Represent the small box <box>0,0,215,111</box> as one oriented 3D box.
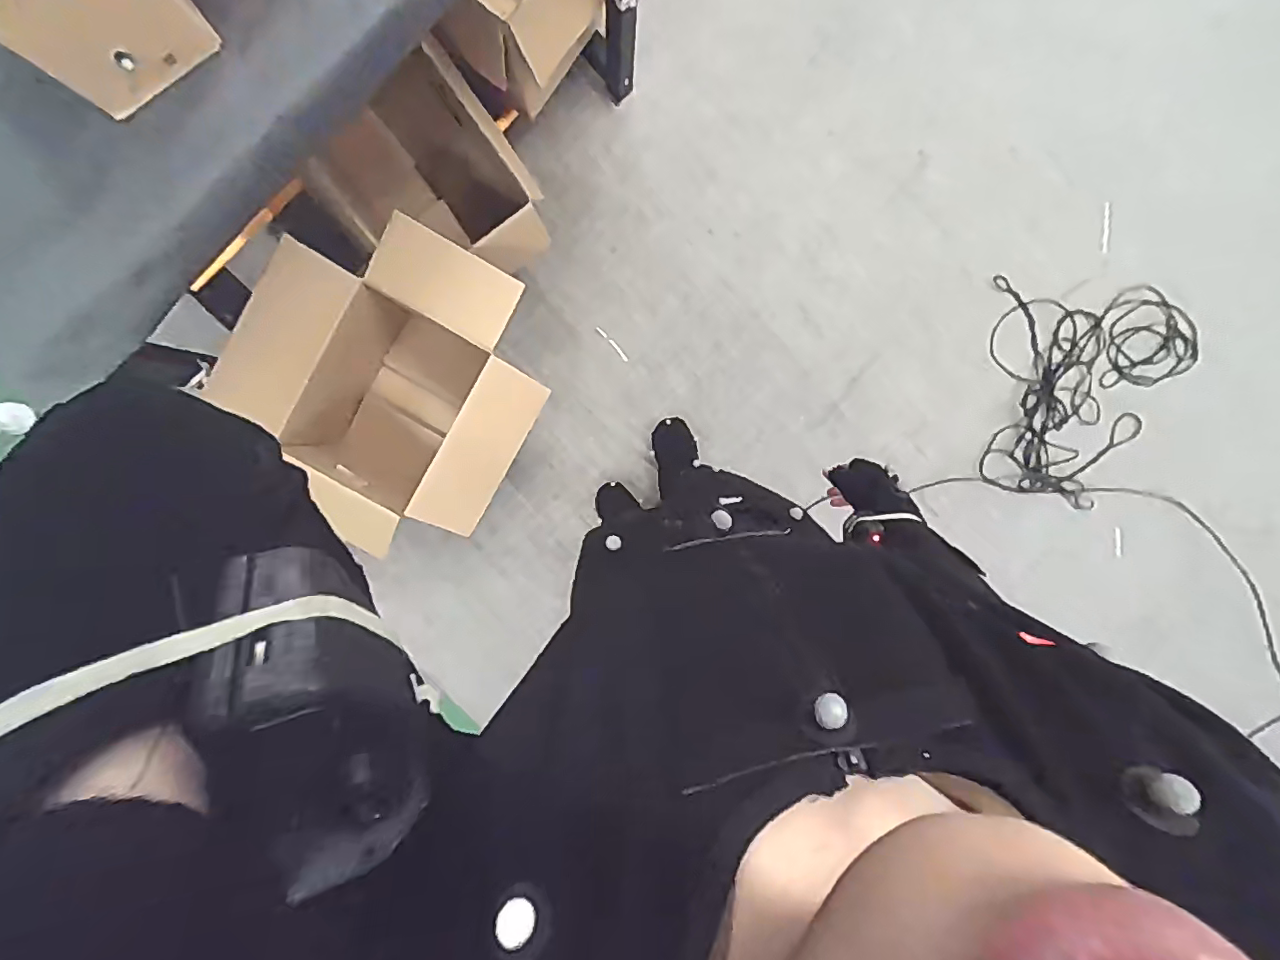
[{"bbox_3d":[-0.642,-0.570,0.599,0.168,0.176,0.179,-35,95,0],"label":"small box"}]
